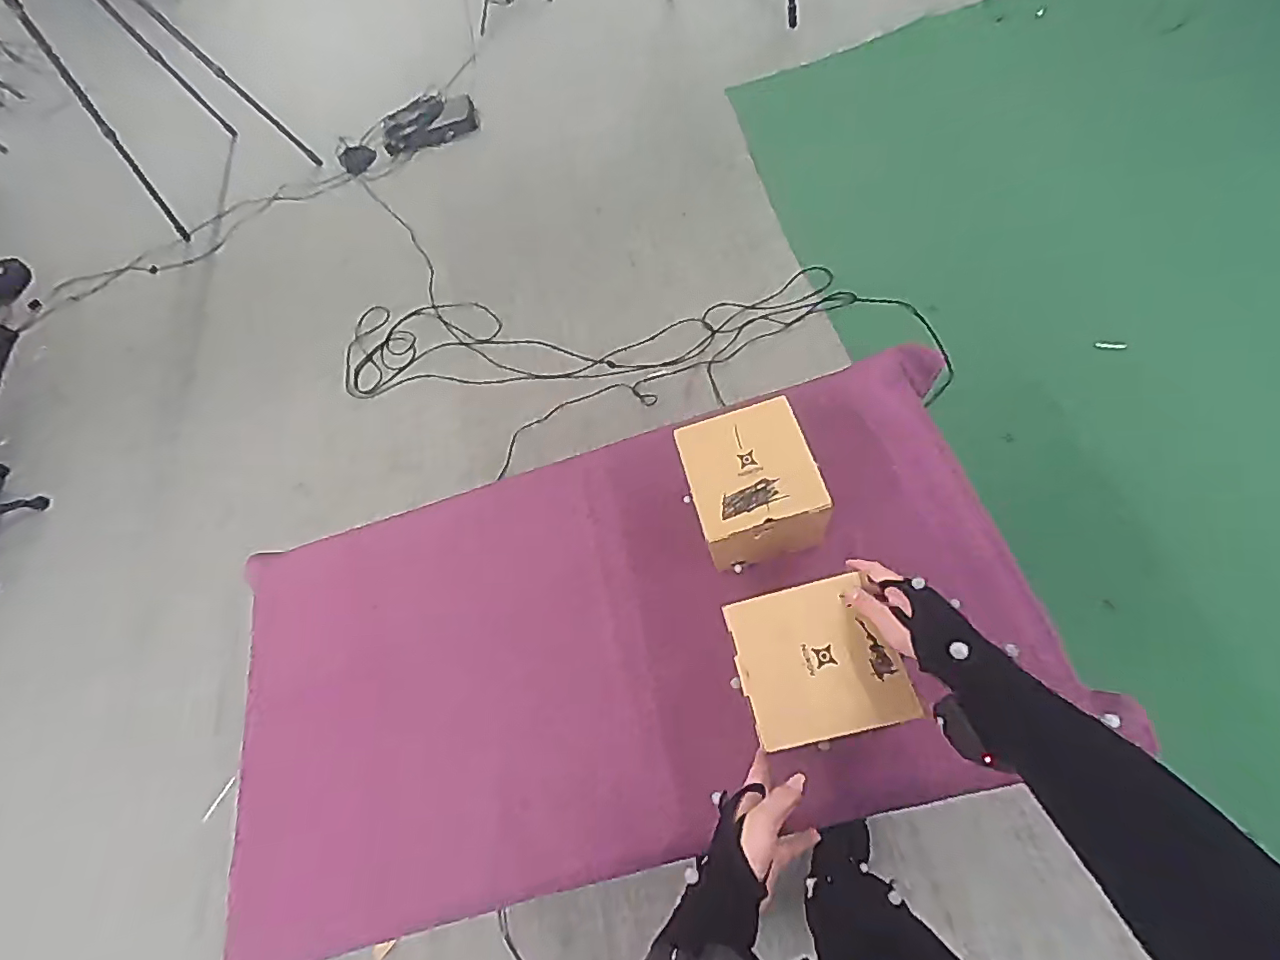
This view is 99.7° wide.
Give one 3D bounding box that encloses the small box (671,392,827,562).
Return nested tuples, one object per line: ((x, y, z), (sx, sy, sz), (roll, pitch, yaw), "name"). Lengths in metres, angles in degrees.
((0.156, 0.008, 0.781), (0.168, 0.176, 0.179), (-17, 63, 6), "small box")

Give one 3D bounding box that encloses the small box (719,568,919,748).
((0.210, 0.227, 0.668), (0.179, 0.176, 0.168), (-16, 63, 7), "small box")
